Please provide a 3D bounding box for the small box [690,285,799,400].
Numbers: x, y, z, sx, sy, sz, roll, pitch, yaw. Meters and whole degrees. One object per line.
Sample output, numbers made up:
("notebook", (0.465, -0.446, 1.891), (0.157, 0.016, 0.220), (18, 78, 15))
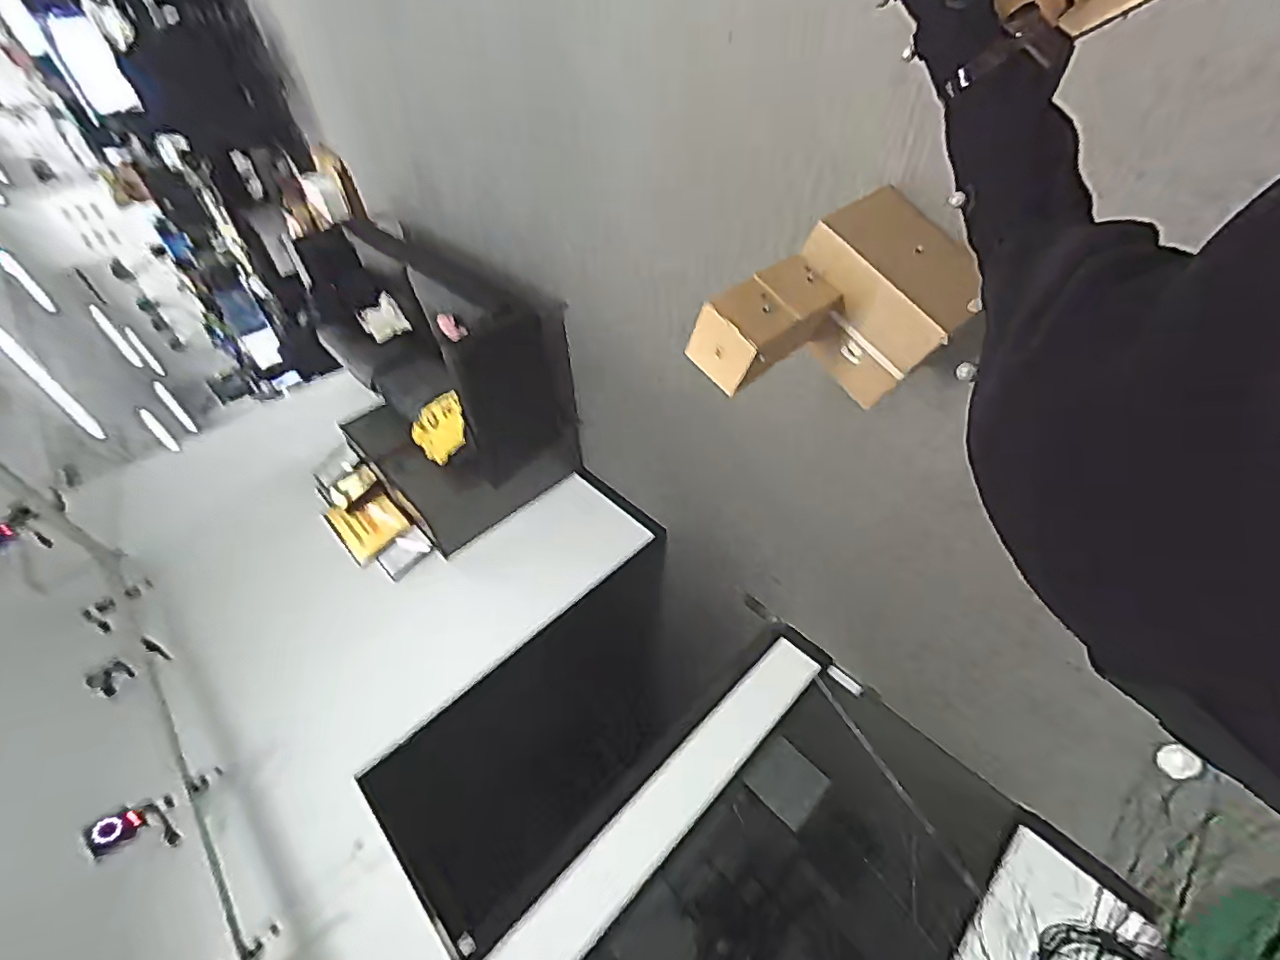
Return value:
("small box", (0.251, -0.332, 1.302), (0.168, 0.176, 0.179), (47, 151, 15))
